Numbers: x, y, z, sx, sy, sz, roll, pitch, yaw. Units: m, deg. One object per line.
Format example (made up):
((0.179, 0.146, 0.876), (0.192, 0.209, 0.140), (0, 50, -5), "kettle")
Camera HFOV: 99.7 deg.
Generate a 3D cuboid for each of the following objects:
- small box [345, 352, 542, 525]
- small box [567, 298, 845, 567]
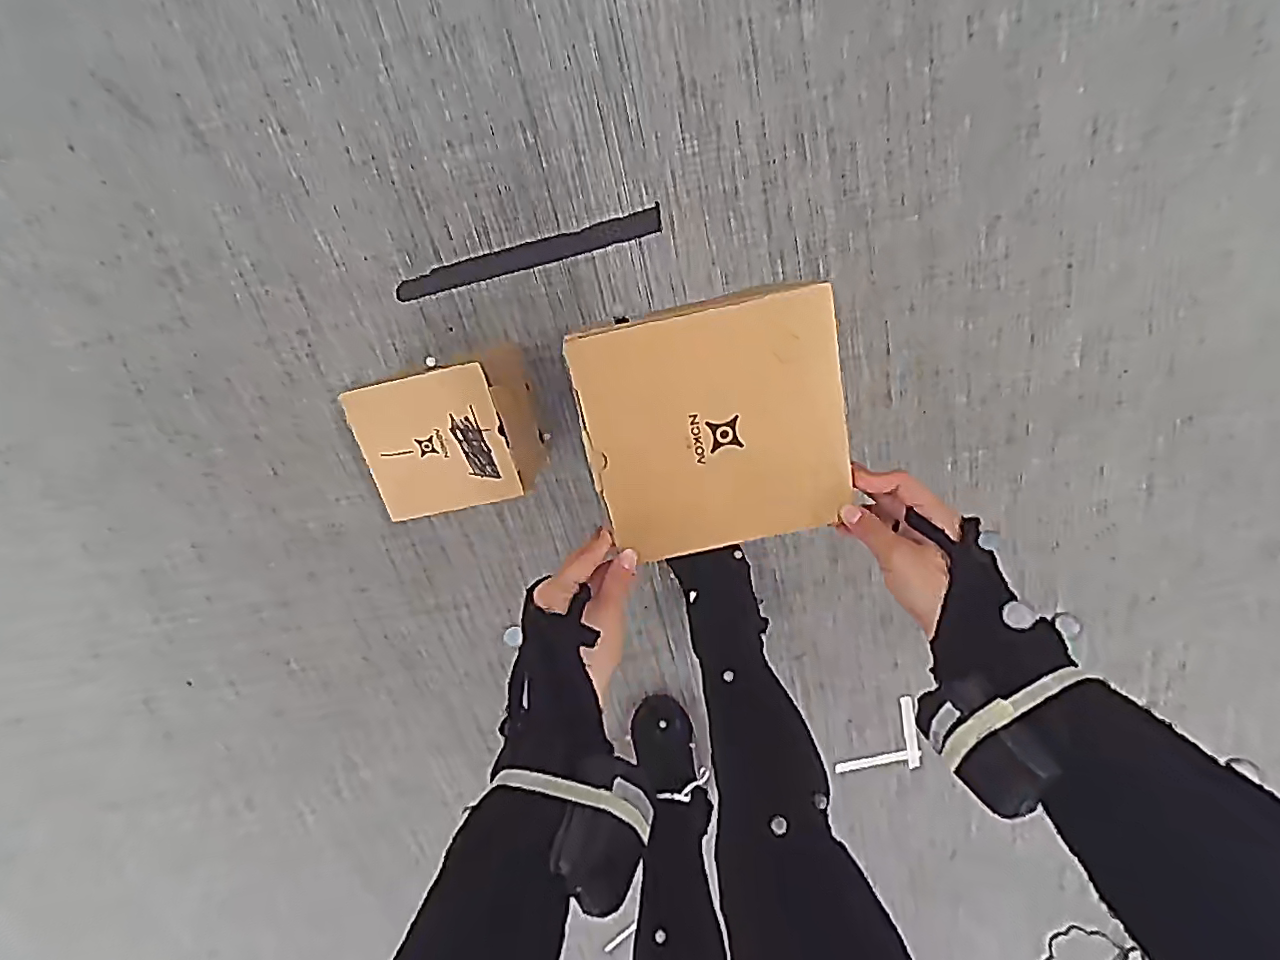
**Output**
((-0.237, -0.063, 0.711), (0.179, 0.176, 0.168), (-11, 110, 6), "small box")
((0.048, -0.053, 0.453), (0.179, 0.176, 0.168), (-13, 108, 3), "small box")
